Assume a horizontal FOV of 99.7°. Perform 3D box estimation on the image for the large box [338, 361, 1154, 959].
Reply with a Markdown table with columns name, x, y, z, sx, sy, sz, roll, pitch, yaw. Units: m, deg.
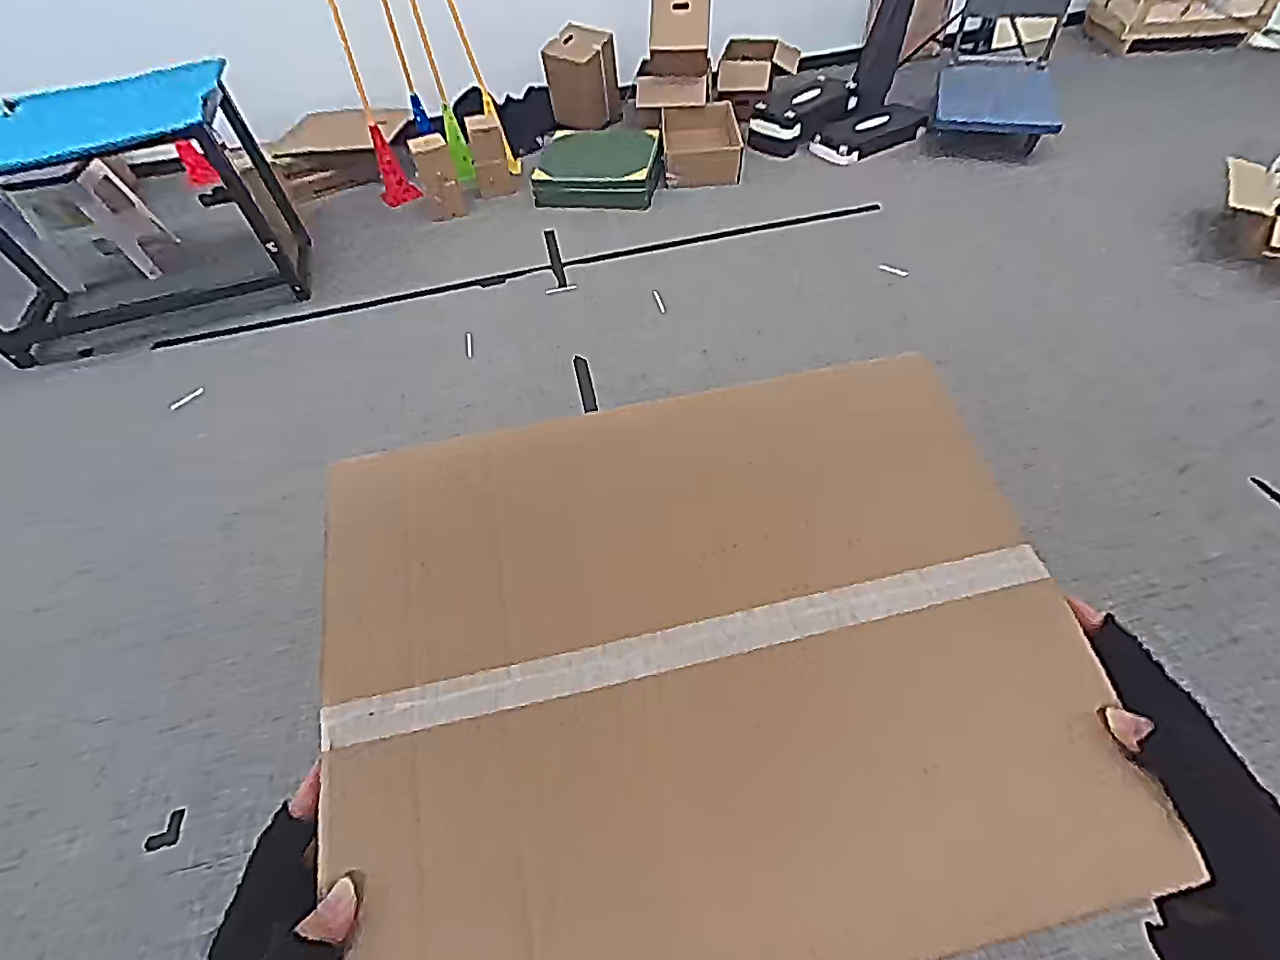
| name | x | y | z | sx | sy | sz | roll | pitch | yaw |
| --- | --- | --- | --- | --- | --- | --- | --- | --- | --- |
| large box | 0.034 | 0.151 | 0.444 | 0.408 | 0.320 | 0.320 | -12 | 66 | -5 |
